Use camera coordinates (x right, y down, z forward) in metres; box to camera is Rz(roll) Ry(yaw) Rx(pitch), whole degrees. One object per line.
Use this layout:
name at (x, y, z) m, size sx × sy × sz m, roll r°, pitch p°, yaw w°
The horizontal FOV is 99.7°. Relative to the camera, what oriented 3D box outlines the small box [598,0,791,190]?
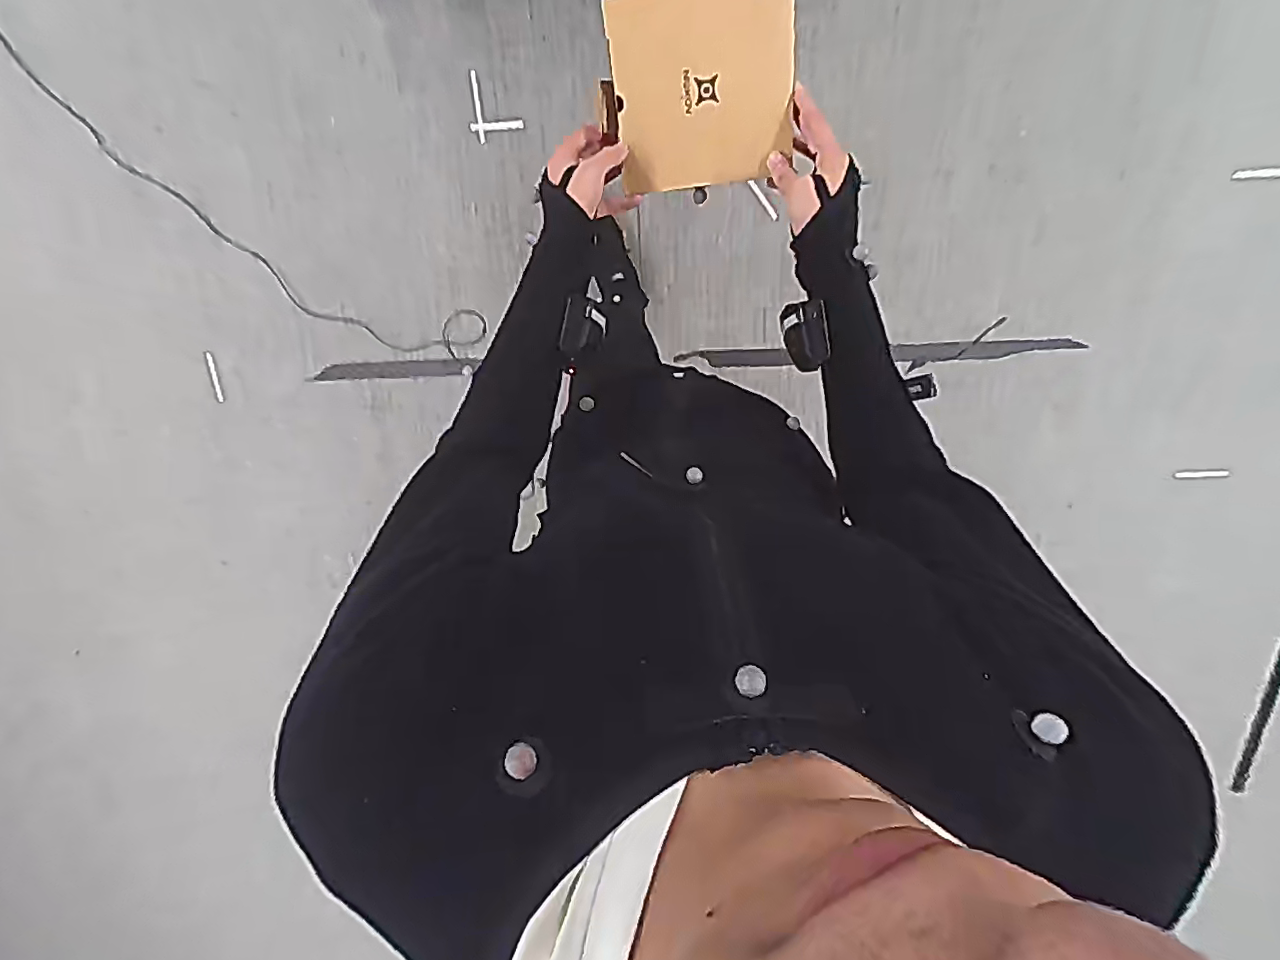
small box at (0.063, -0.422, 0.588) m, size 0.179 × 0.176 × 0.168 m, roll -3°, pitch 119°, yaw 9°
